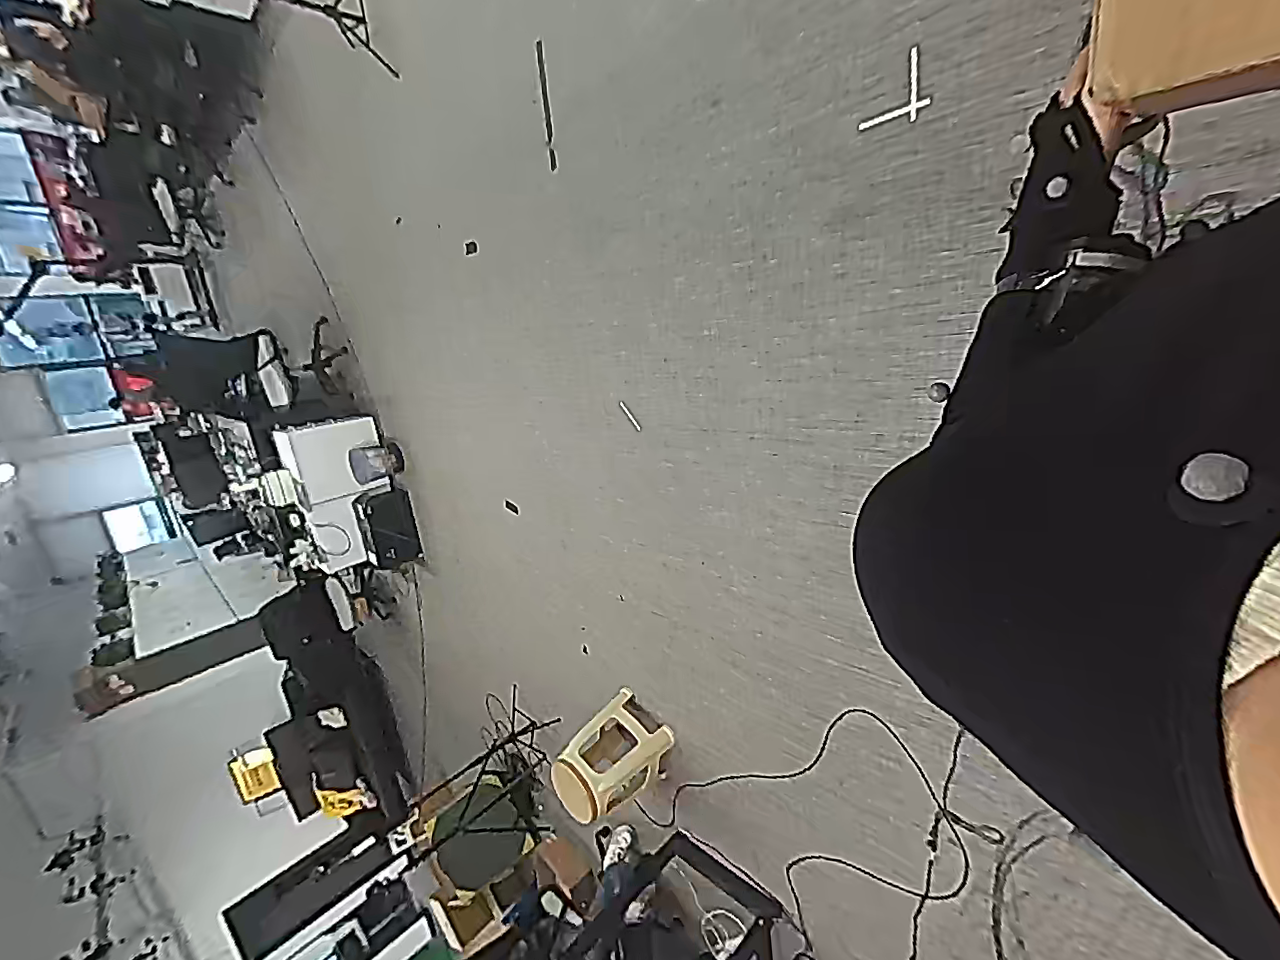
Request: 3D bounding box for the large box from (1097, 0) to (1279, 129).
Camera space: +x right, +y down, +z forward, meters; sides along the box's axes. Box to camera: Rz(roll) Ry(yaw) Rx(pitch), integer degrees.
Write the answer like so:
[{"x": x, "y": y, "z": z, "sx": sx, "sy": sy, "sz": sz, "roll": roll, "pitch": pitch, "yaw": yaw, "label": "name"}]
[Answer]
[{"x": 0.410, "y": -0.339, "z": 0.151, "sx": 0.408, "sy": 0.320, "sz": 0.320, "roll": 8, "pitch": 120, "yaw": 42, "label": "large box"}]
